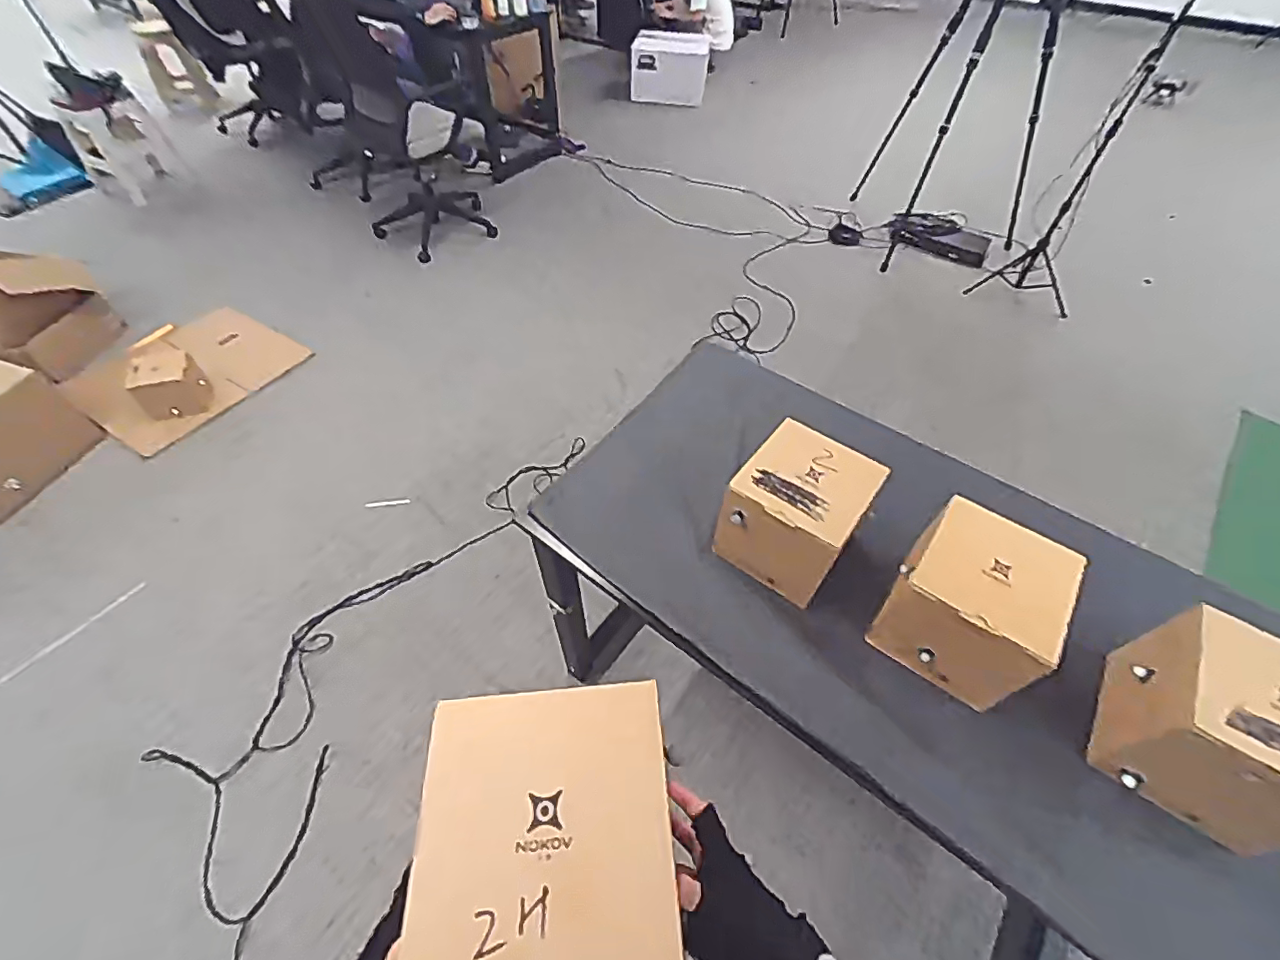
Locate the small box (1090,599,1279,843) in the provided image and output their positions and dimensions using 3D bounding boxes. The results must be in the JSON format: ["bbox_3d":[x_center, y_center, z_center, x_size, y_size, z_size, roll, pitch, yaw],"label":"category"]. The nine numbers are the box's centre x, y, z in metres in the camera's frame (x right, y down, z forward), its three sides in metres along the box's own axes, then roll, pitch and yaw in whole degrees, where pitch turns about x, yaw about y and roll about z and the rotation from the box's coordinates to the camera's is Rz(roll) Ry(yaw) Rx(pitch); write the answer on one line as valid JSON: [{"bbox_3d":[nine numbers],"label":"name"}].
[{"bbox_3d":[0.672,0.281,0.626,0.168,0.176,0.179,31,56,22],"label":"small box"}]

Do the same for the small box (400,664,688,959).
[{"bbox_3d":[-0.057,0.262,0.417,0.168,0.176,0.179,-5,52,0],"label":"small box"}]

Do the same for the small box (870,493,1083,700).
[{"bbox_3d":[0.438,0.157,0.725,0.168,0.176,0.179,31,58,21],"label":"small box"}]
